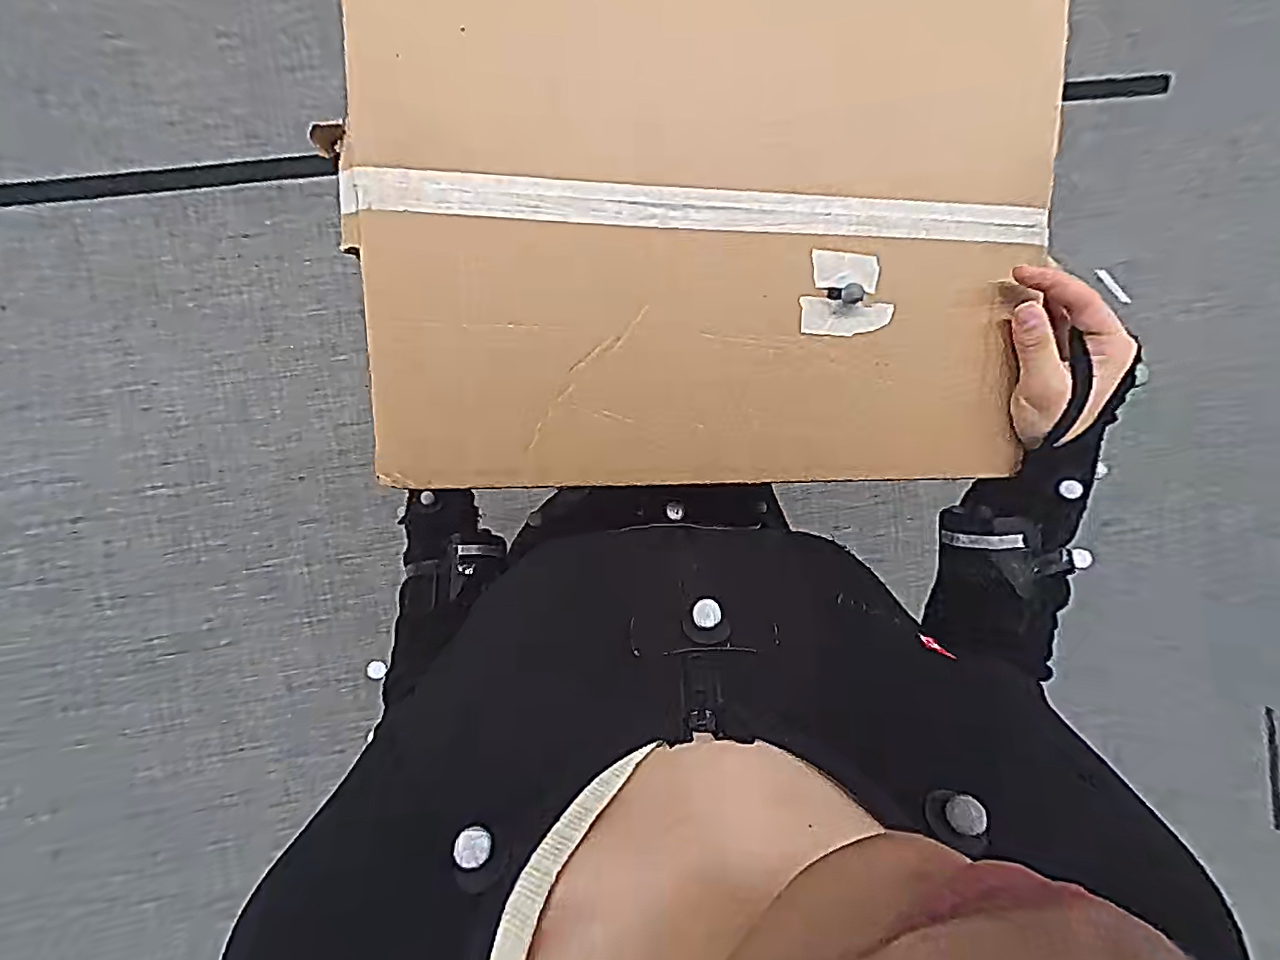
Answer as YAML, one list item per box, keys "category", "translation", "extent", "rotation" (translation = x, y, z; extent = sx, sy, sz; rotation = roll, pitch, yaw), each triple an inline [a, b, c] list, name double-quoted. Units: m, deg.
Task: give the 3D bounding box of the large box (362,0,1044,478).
- category: "large box"
  translation: [0.028, -0.180, 0.462]
  extent: [0.408, 0.320, 0.320]
  rotation: [-1, 99, -10]
